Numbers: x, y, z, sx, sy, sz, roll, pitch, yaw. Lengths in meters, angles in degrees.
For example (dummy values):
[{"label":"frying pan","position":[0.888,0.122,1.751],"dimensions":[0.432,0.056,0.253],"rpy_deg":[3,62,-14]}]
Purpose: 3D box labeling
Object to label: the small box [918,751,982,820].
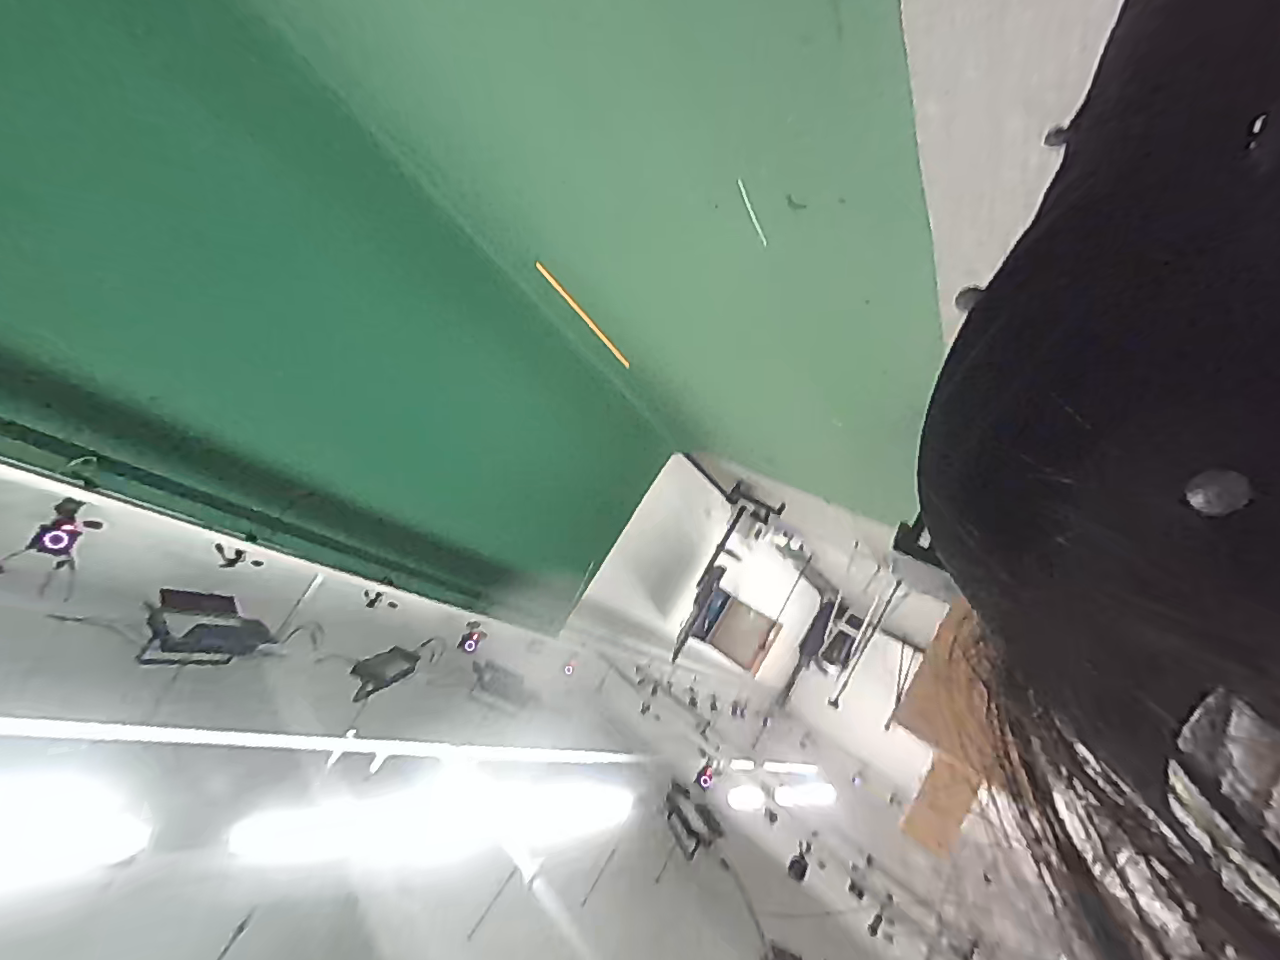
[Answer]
[{"label":"small box","position":[1.213,1.186,2.117],"dimensions":[0.168,0.176,0.179],"rpy_deg":[27,169,32]}]
